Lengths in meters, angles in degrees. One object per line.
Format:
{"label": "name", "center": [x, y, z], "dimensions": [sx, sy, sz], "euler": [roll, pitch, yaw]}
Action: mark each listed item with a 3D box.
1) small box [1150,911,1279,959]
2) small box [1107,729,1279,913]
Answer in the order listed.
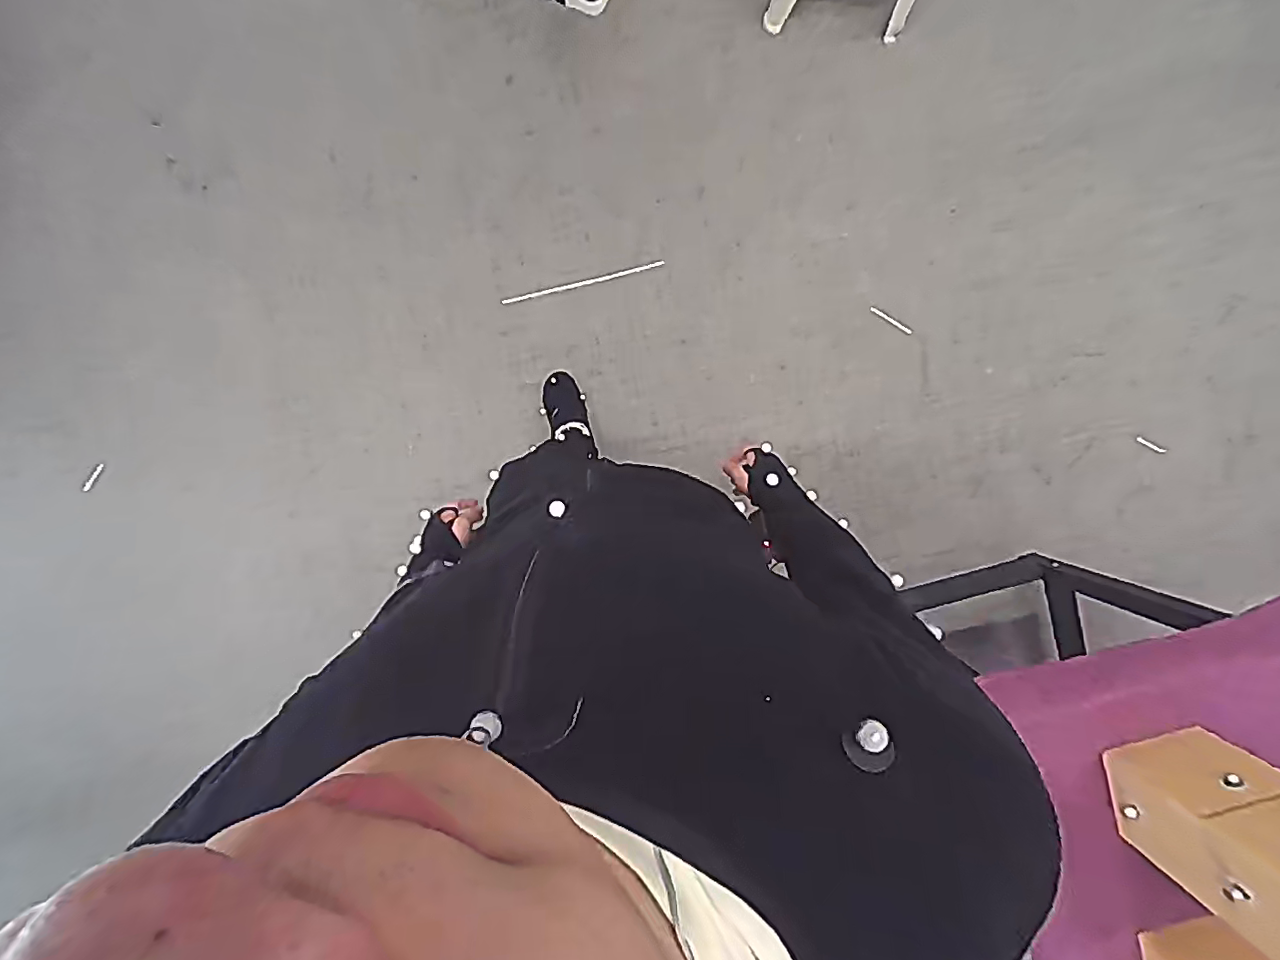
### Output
{"label": "small box", "center": [1.016, 0.883, 0.909], "dimensions": [0.179, 0.176, 0.168], "euler": [-16, 95, -1]}
{"label": "small box", "center": [0.923, 0.537, 0.875], "dimensions": [0.179, 0.176, 0.168], "euler": [-16, 95, 1]}
